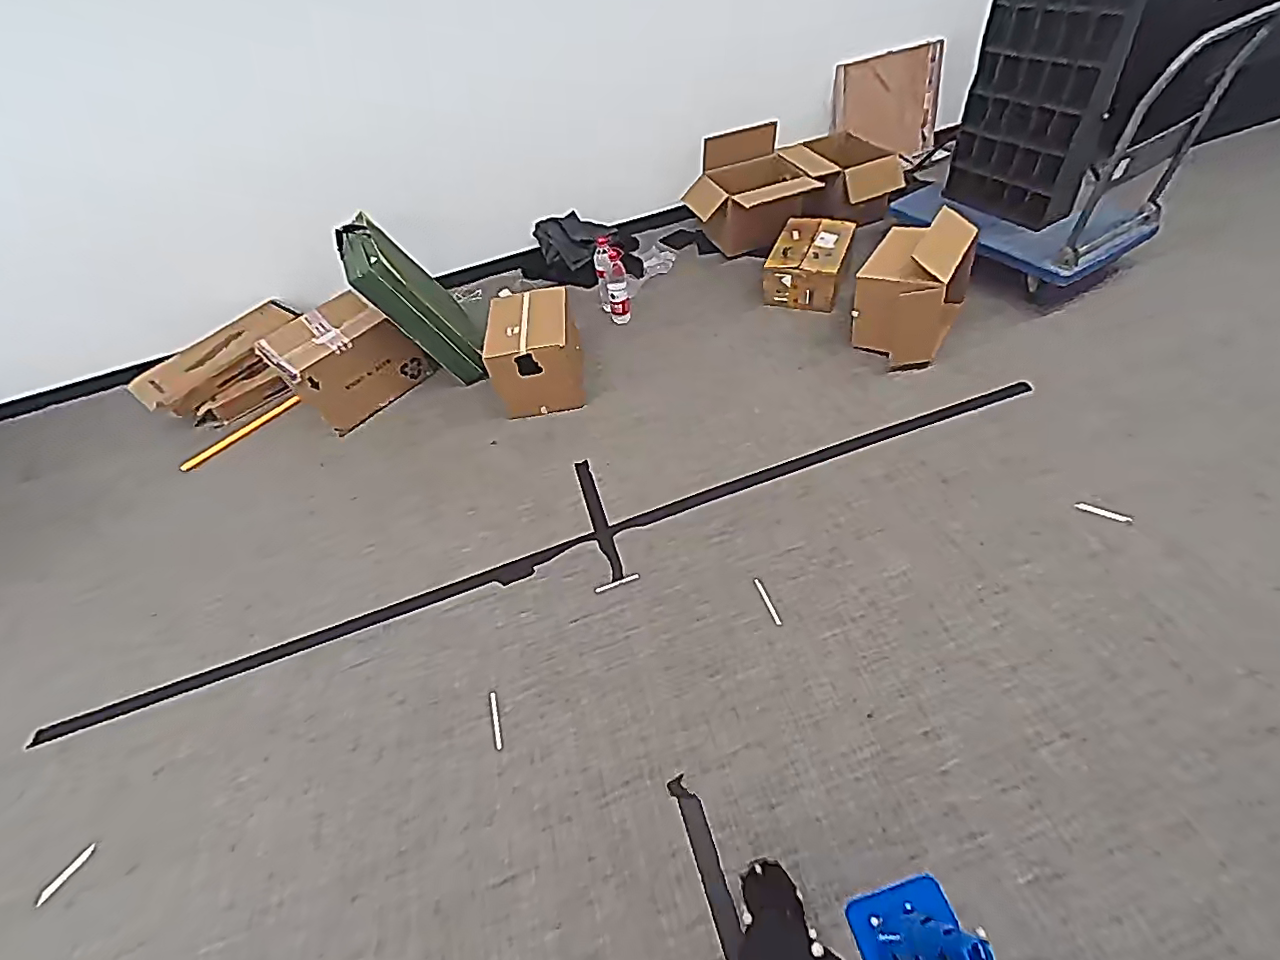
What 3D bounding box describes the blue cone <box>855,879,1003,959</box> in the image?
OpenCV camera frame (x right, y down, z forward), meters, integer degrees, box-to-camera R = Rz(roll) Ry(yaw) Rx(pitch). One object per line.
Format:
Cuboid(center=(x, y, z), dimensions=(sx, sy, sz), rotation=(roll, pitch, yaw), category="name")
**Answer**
Cuboid(center=(0.507, 0.787, 0.903), dimensions=(0.192, 0.380, 0.193), rotation=(-14, 49, -3), category="blue cone")
